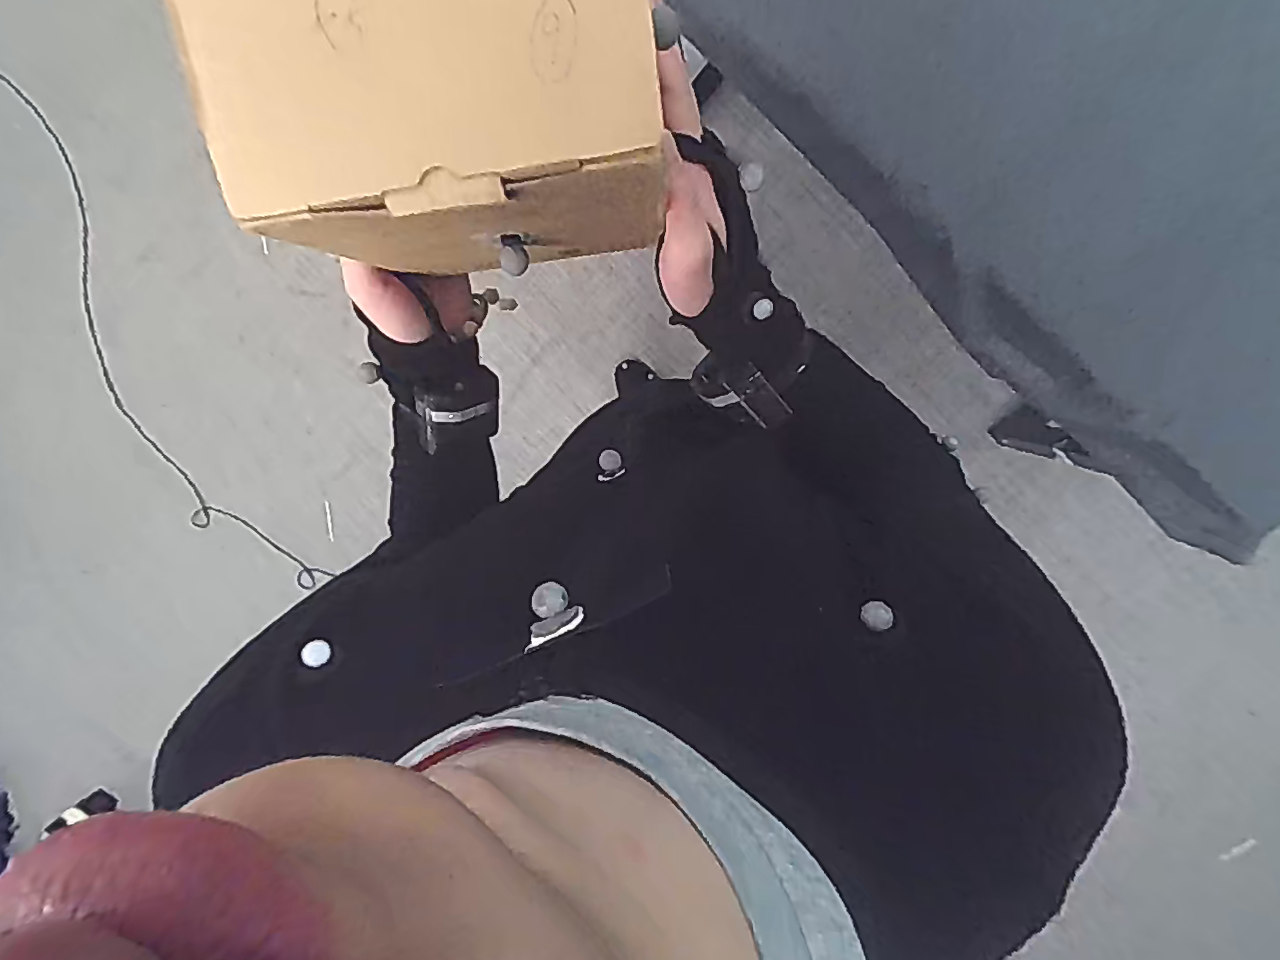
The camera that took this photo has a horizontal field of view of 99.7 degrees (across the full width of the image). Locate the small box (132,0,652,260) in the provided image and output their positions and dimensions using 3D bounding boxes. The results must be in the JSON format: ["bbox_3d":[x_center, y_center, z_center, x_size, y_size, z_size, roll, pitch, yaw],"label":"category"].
[{"bbox_3d":[-0.084,-0.204,0.244,0.168,0.176,0.179,-6,105,3],"label":"small box"}]
